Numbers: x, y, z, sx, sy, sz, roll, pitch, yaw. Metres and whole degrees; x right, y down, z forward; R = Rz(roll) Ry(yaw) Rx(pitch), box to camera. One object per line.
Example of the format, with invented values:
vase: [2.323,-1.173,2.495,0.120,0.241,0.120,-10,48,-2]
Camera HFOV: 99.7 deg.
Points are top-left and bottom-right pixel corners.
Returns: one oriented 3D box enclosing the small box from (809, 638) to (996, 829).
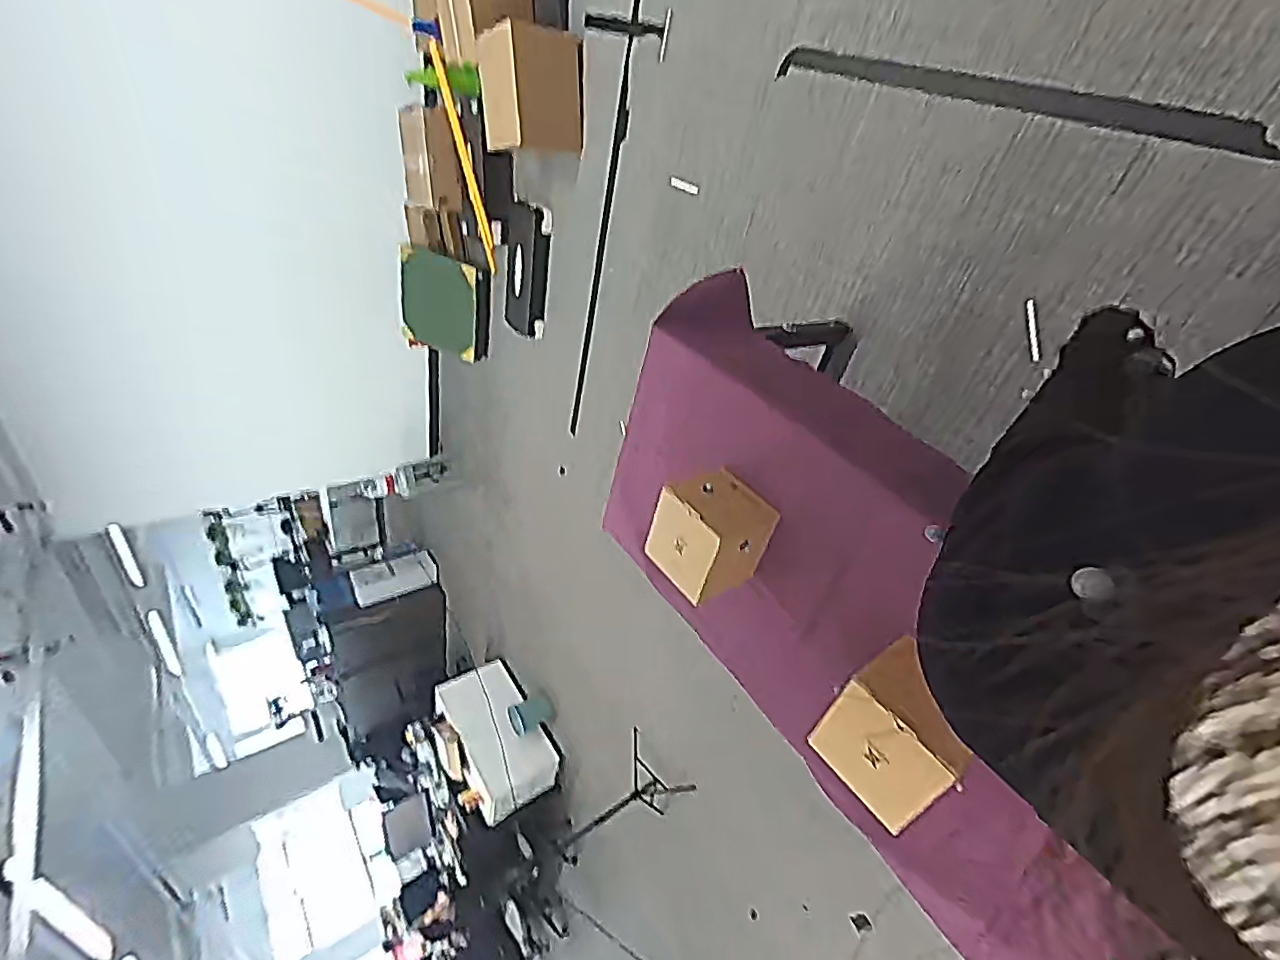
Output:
small box: [0.402,0.380,0.832,0.168,0.176,0.179,43,133,35]

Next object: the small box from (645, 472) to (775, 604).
small box: [0.139,0.105,1.072,0.168,0.176,0.179,44,135,35]
